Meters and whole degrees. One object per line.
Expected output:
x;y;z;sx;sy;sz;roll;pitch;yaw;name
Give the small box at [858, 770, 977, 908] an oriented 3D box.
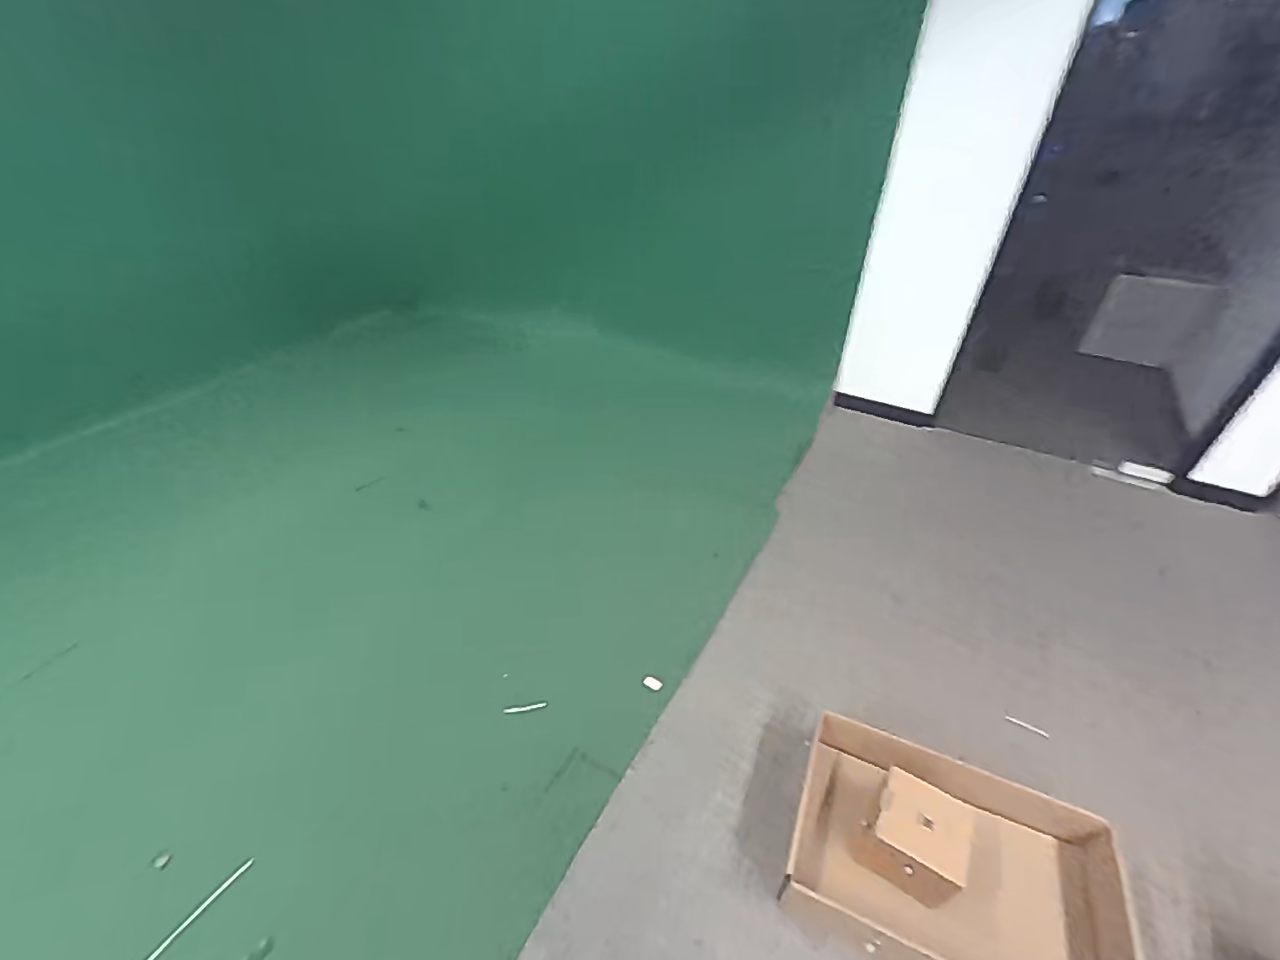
0.600;0.786;1.181;0.179;0.176;0.168;23;45;23;small box
